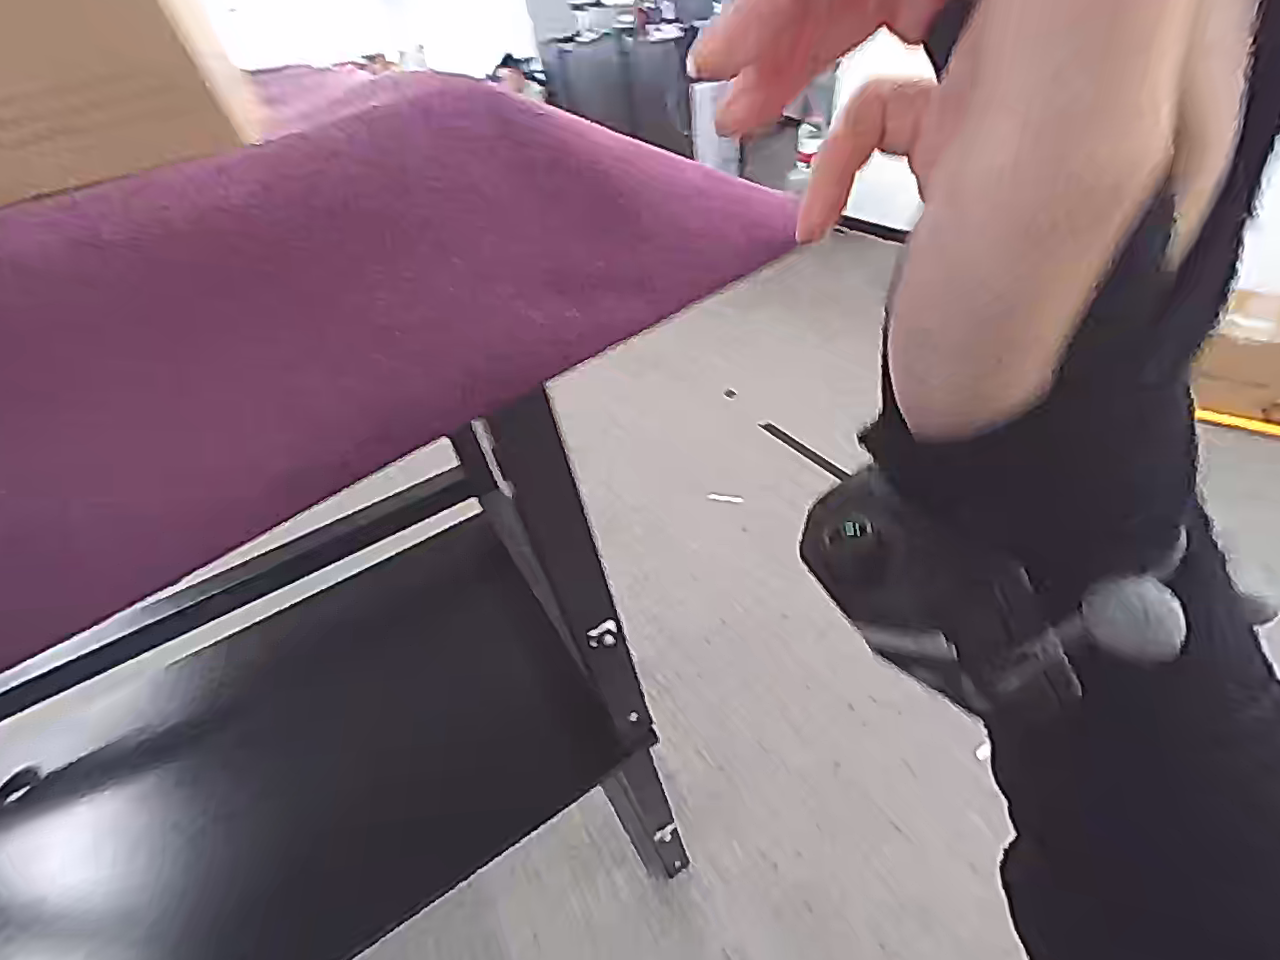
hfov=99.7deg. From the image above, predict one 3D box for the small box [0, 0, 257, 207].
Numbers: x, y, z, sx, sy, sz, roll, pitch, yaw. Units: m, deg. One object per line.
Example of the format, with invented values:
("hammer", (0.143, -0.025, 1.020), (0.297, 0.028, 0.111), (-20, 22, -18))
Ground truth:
("small box", (-0.294, -0.214, 0.216), (0.179, 0.176, 0.168), (-25, 43, -13))
